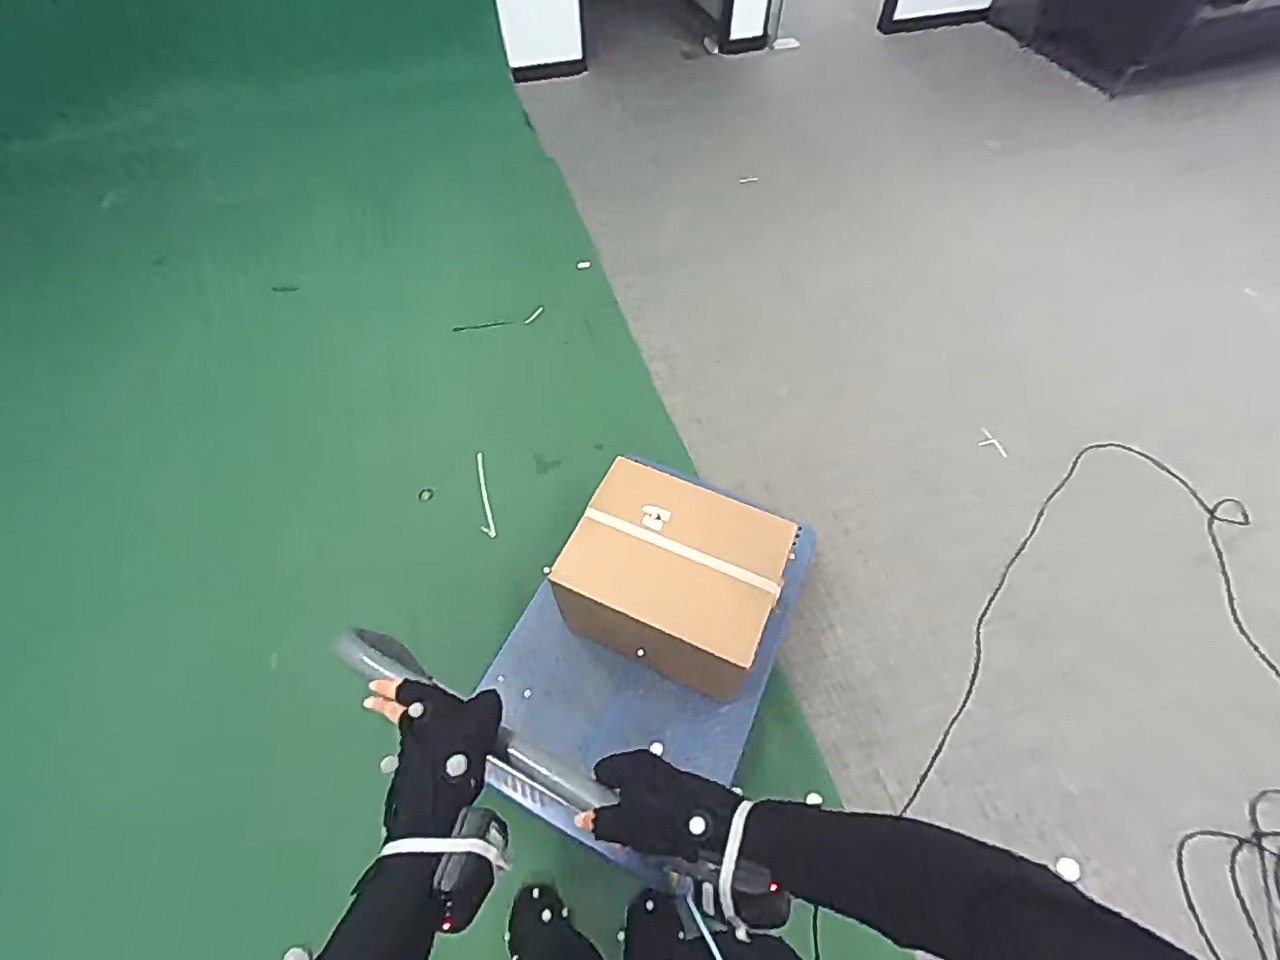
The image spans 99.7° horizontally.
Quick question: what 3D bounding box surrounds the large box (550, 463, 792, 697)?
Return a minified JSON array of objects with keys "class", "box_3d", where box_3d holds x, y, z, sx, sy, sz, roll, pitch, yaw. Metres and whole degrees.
[{"class":"large box","box_3d":[0.071,0.223,1.184,0.408,0.320,0.320,21,59,14]}]
